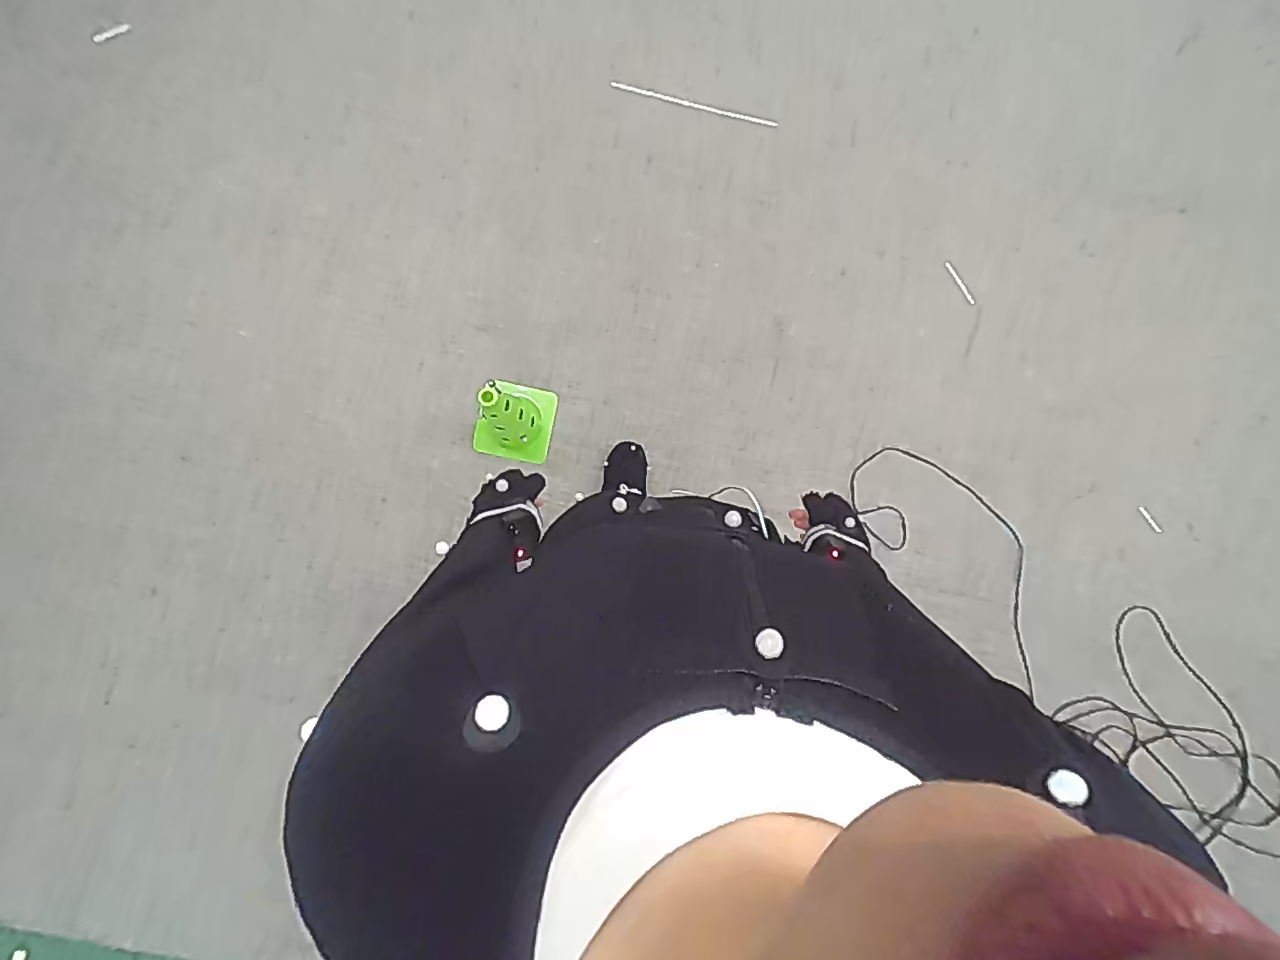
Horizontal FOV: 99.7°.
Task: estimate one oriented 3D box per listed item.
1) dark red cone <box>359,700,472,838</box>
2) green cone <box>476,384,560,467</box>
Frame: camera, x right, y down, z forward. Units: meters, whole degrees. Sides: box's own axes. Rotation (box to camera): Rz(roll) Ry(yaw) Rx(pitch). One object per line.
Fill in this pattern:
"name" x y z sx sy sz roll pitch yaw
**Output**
"dark red cone" -0.531 0.666 1.223 0.202 0.394 0.201 7 89 -3
"green cone" -0.316 -0.151 1.291 0.202 0.368 0.200 11 88 -4
